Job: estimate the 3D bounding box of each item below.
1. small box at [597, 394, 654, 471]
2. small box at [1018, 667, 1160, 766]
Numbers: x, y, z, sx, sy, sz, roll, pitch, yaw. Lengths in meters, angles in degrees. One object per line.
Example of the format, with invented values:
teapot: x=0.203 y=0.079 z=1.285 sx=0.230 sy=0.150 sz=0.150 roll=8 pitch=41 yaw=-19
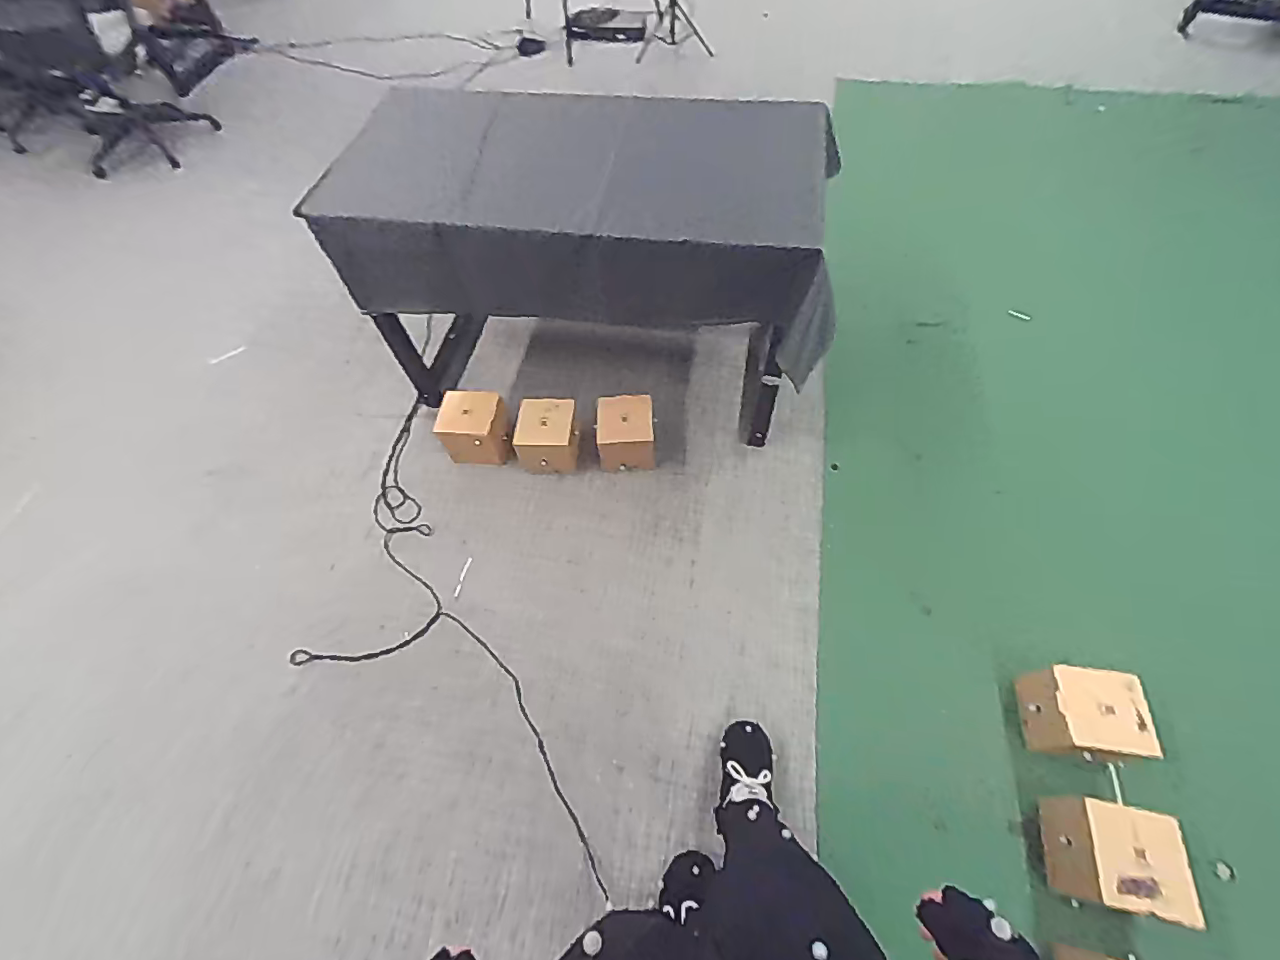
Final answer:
small box: x=-0.041 y=-0.144 z=1.672 sx=0.168 sy=0.176 sz=0.179 roll=-3 pitch=58 yaw=2
small box: x=0.985 y=0.533 z=1.211 sx=0.179 sy=0.176 sz=0.168 roll=6 pitch=59 yaw=8
